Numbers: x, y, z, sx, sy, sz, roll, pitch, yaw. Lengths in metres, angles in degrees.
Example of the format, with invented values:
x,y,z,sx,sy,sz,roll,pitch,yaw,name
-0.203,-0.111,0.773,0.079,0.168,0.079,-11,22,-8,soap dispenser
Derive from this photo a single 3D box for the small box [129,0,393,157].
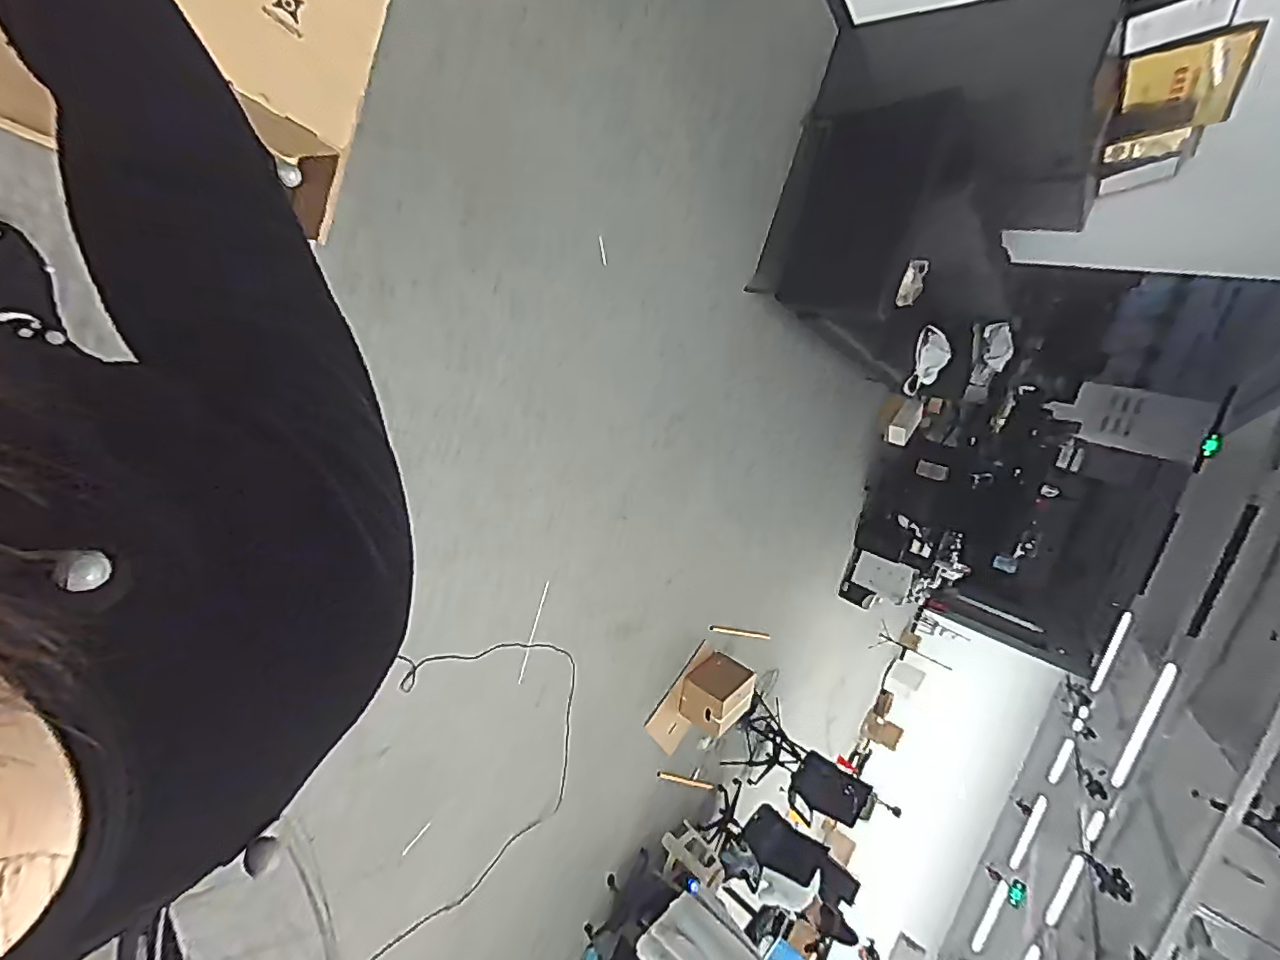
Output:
x,y,z,sx,sy,sz,roll,pitch,yaw,name
-0.397,-0.469,0.565,0.168,0.176,0.179,13,99,-54,small box
